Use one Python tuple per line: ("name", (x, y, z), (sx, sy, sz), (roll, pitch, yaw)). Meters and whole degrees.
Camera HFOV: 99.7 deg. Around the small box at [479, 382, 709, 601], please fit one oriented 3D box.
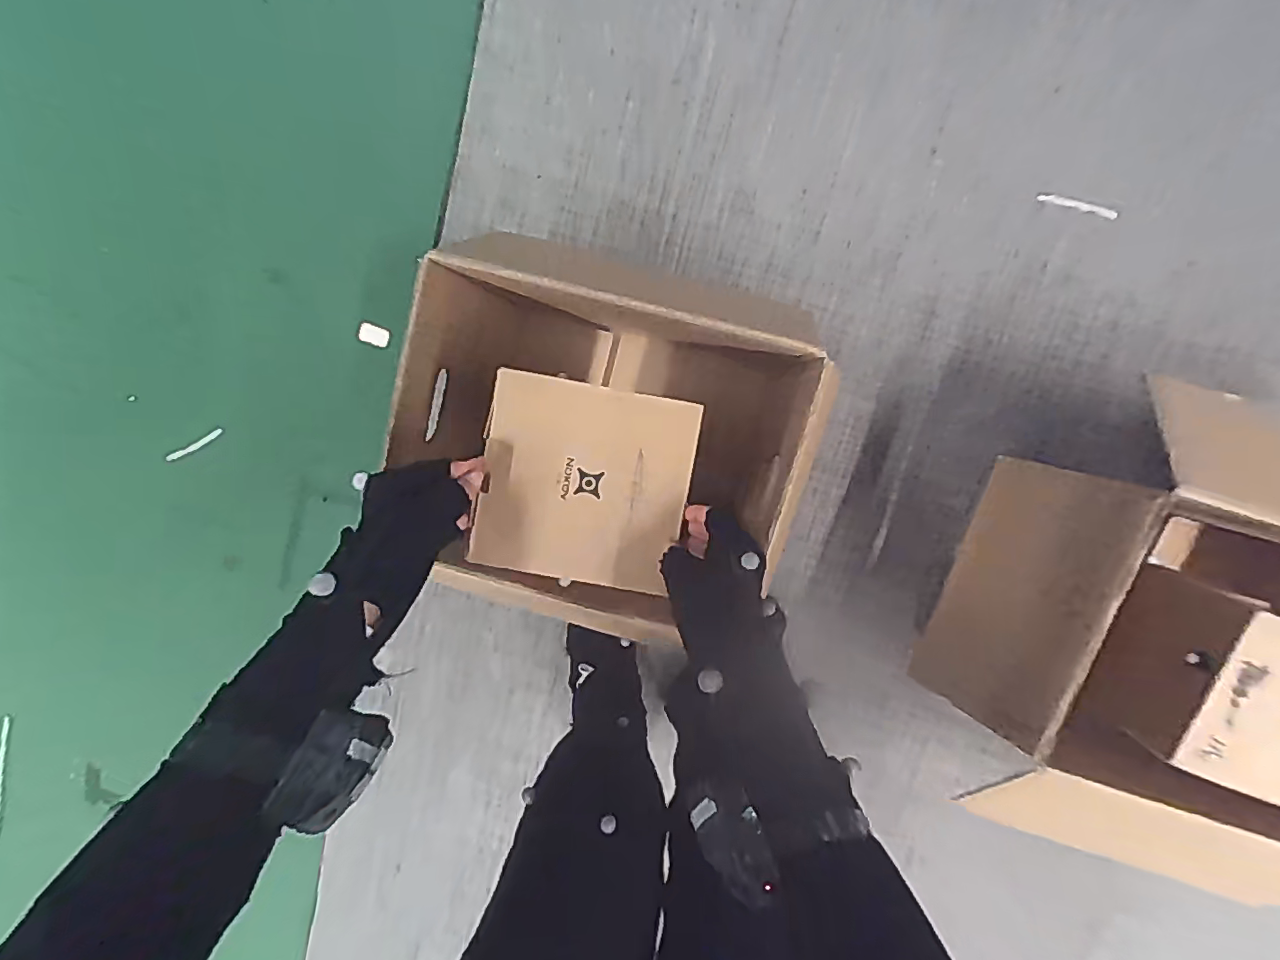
("small box", (-0.043, 0.009, 0.540), (0.179, 0.176, 0.168), (9, 91, -4))
